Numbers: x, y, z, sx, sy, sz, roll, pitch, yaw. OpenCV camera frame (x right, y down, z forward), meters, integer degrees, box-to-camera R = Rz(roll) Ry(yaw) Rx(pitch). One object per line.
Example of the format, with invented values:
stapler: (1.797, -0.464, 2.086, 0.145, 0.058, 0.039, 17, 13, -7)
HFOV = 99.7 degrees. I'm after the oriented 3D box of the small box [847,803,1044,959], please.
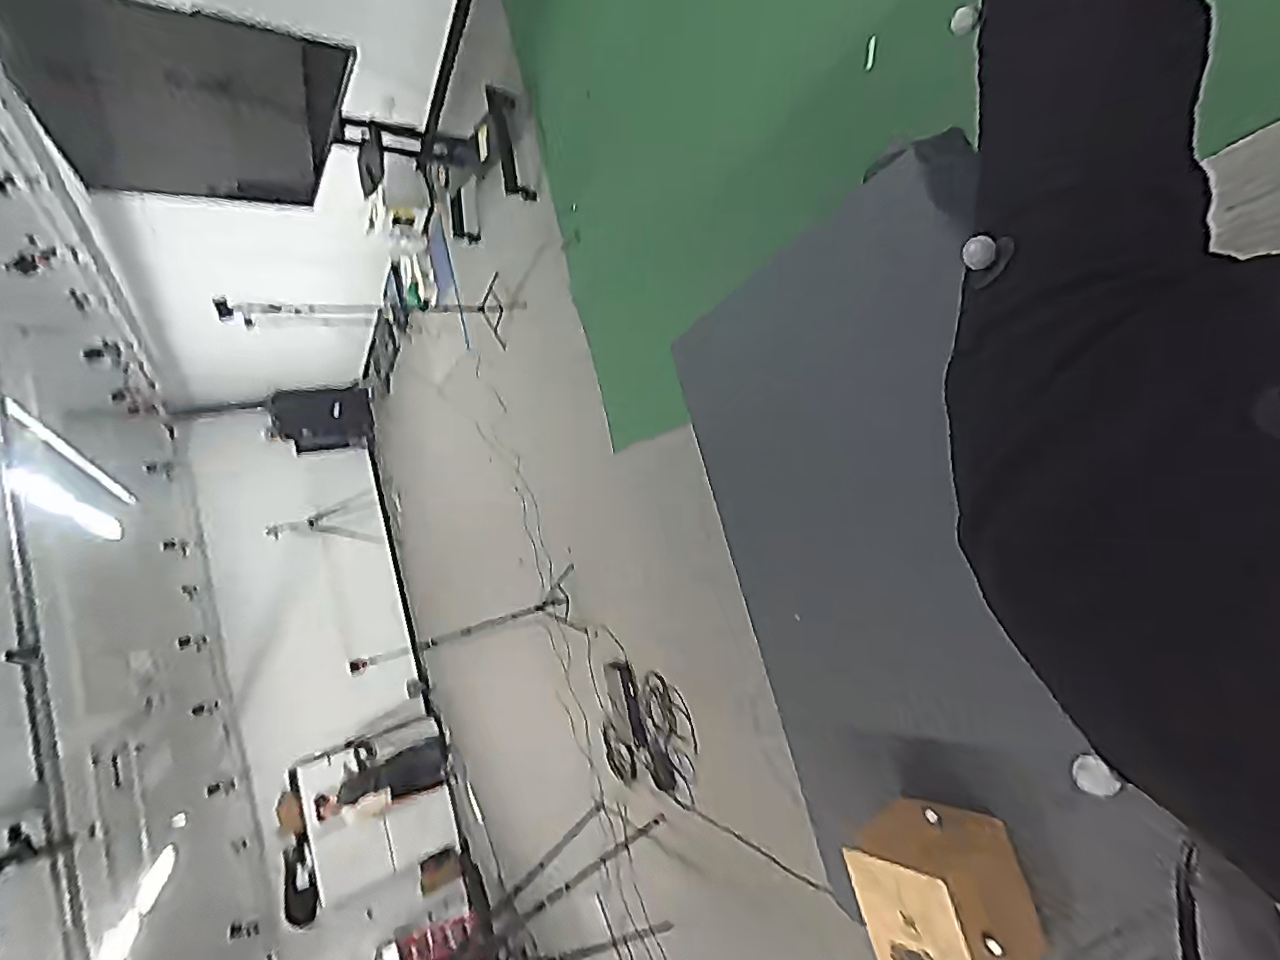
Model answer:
small box: (0.445, 0.615, 0.791, 0.168, 0.176, 0.179, -29, 74, 54)
